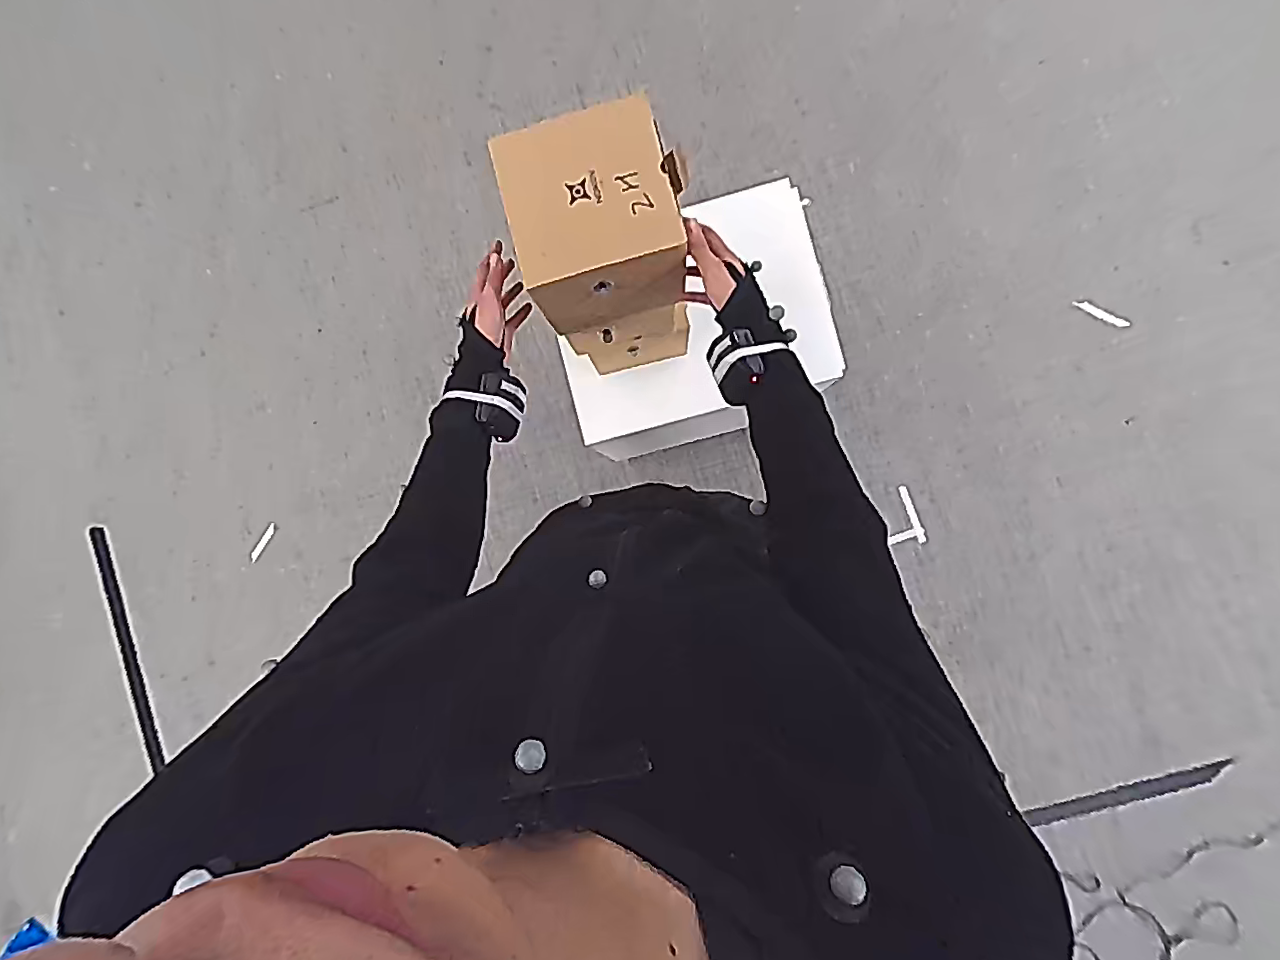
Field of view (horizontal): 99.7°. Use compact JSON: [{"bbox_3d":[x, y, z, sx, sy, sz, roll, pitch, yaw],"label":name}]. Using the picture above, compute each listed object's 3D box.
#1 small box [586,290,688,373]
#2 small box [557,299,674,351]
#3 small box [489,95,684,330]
[{"bbox_3d":[-0.017,-0.301,0.960,0.179,0.176,0.168,-14,88,2],"label":"small box"},{"bbox_3d":[-0.044,-0.302,0.799,0.168,0.176,0.179,-12,87,3],"label":"small box"},{"bbox_3d":[-0.051,-0.293,0.634,0.179,0.176,0.168,-15,88,3],"label":"small box"}]
